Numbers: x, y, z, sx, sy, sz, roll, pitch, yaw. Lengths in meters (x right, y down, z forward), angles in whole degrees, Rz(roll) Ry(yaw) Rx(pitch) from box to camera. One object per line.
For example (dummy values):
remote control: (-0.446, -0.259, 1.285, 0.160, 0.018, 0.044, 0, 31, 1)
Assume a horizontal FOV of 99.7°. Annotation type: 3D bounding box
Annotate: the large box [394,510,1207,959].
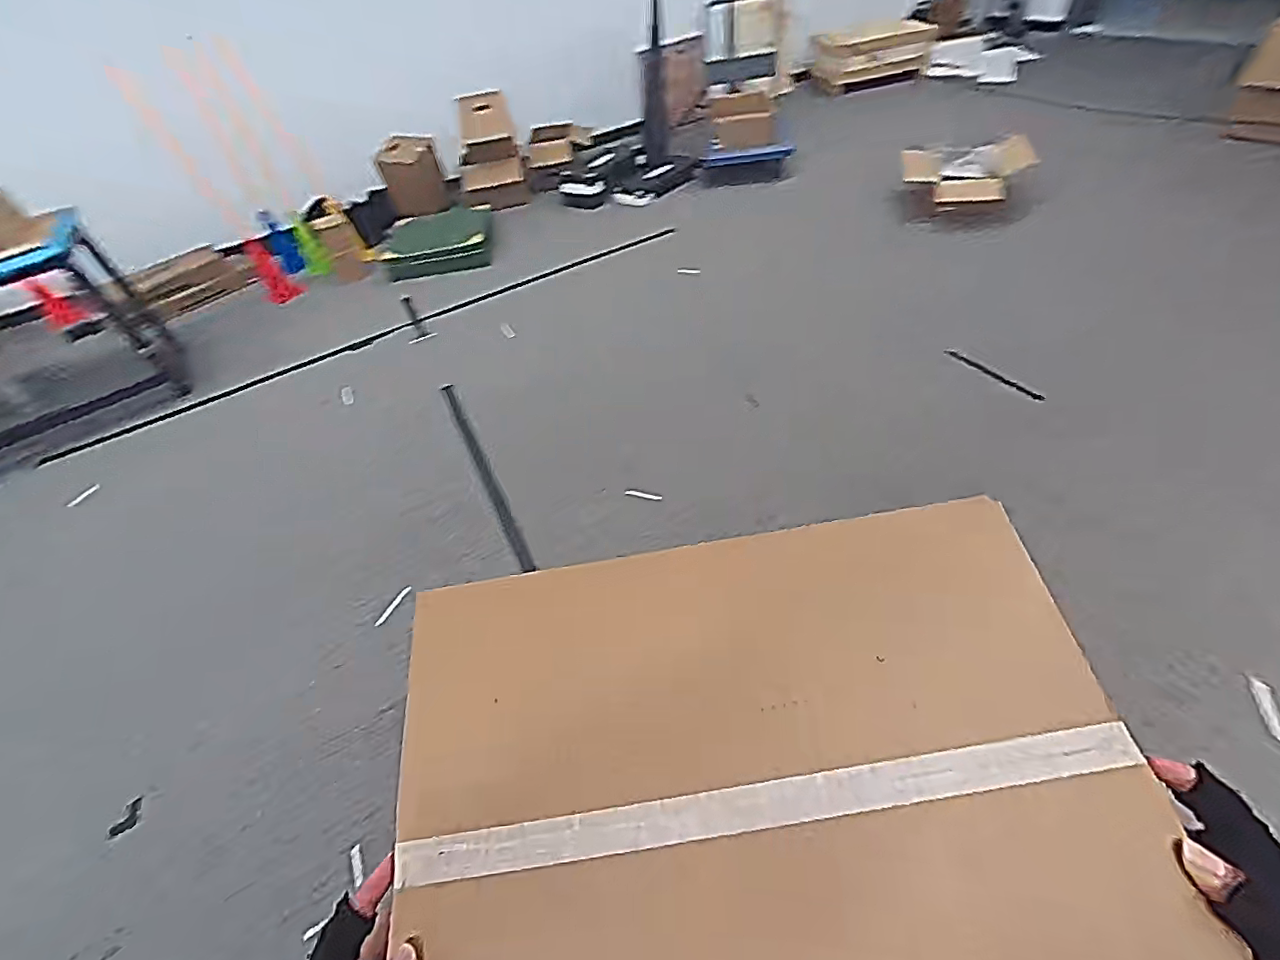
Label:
large box: (0.076, 0.261, 0.431, 0.408, 0.320, 0.320, -11, 58, 0)
